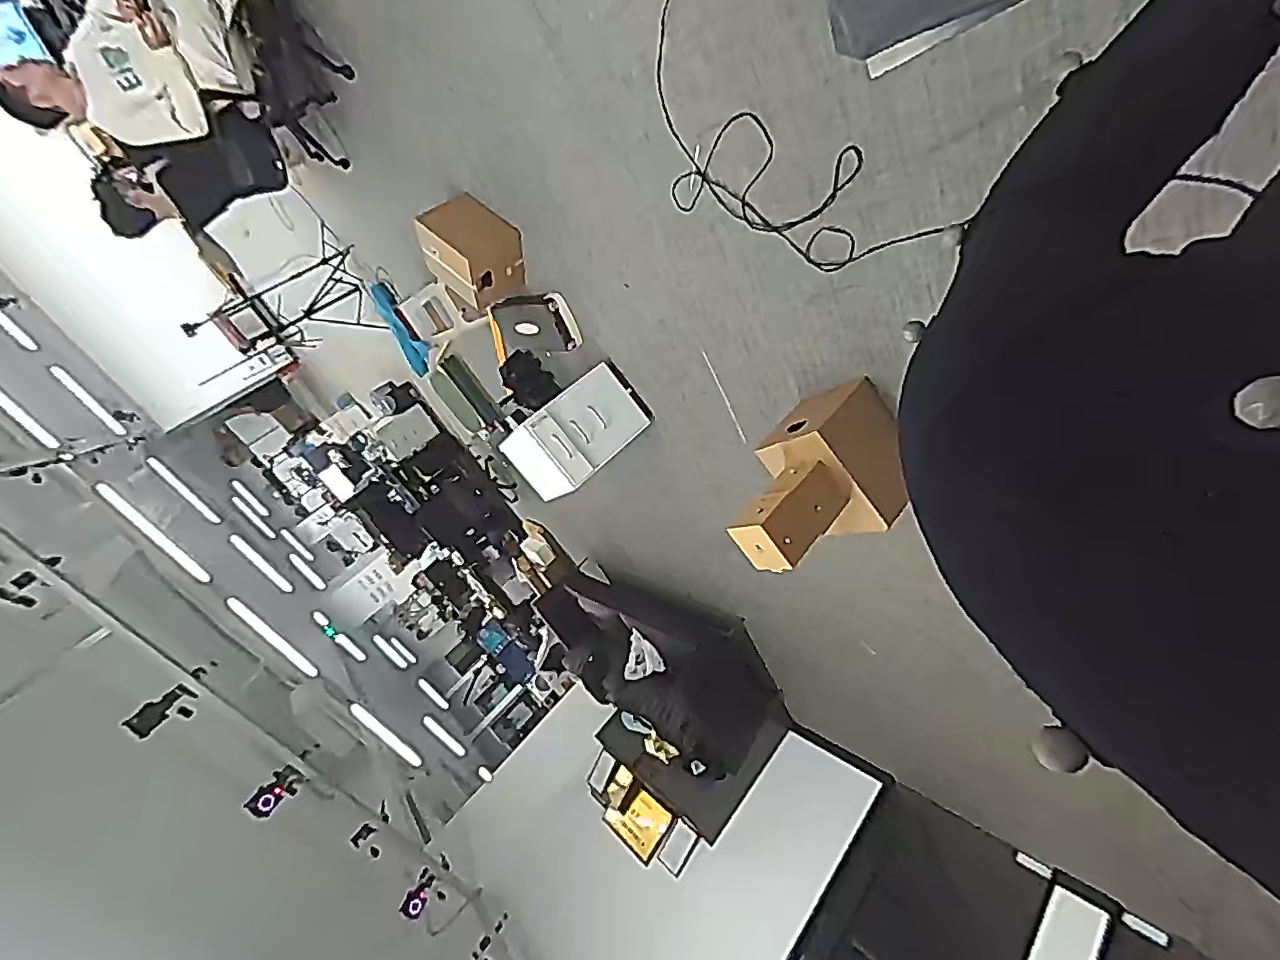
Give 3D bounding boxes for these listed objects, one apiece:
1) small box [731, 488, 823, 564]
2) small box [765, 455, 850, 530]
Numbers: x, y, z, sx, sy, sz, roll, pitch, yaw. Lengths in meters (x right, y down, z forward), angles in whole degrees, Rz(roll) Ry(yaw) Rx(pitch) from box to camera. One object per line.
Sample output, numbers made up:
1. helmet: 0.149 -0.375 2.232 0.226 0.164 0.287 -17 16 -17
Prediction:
1. small box: 0.425 0.139 1.671 0.179 0.176 0.168 51 154 -11
2. small box: 0.539 0.047 1.743 0.179 0.176 0.168 52 154 -10
